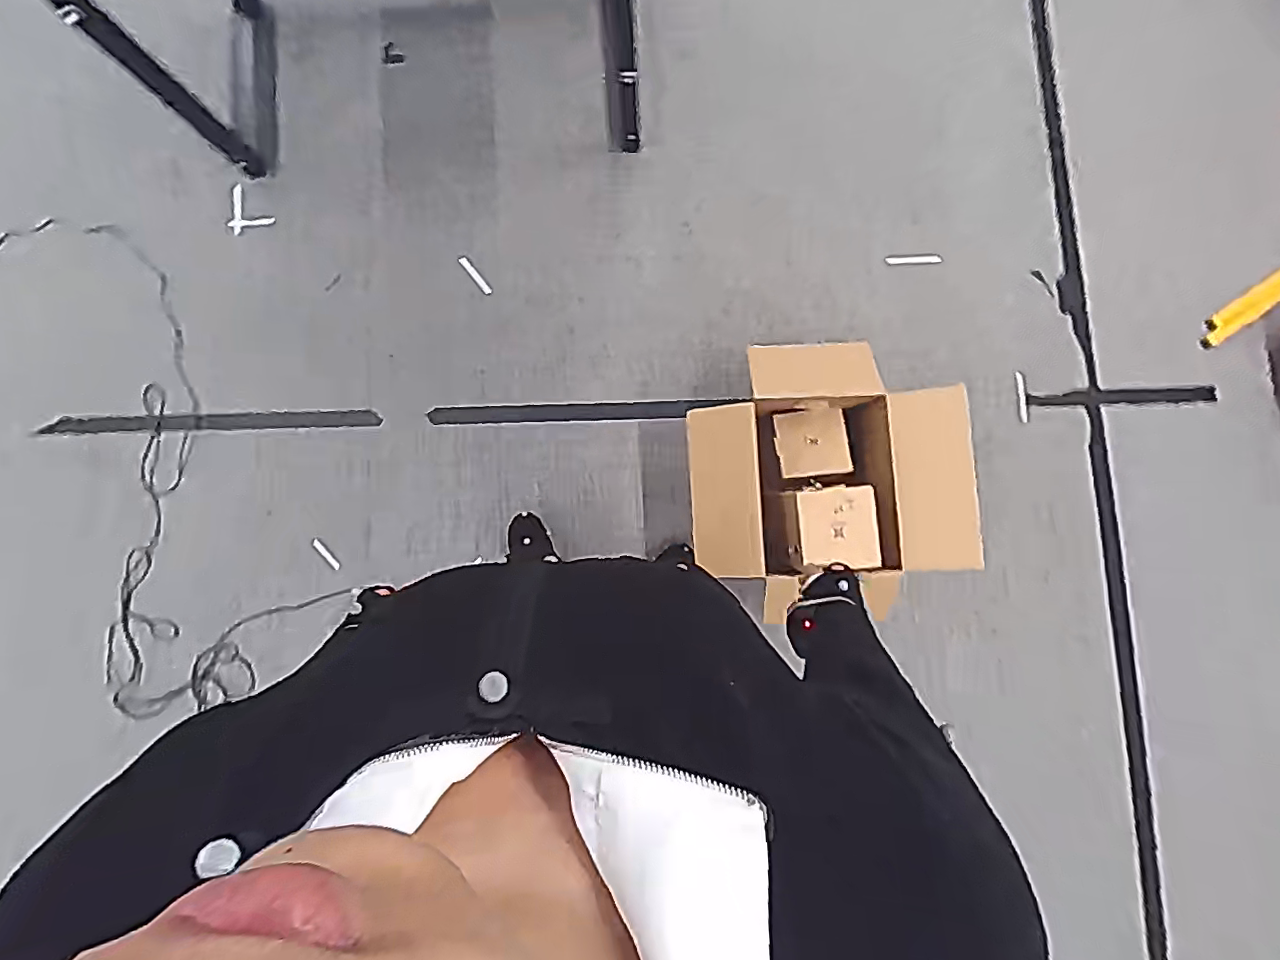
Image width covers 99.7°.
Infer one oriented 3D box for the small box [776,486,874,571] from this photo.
[{"bbox_3d":[0.417,0.108,1.241,0.168,0.176,0.179,-5,86,0],"label":"small box"}]
